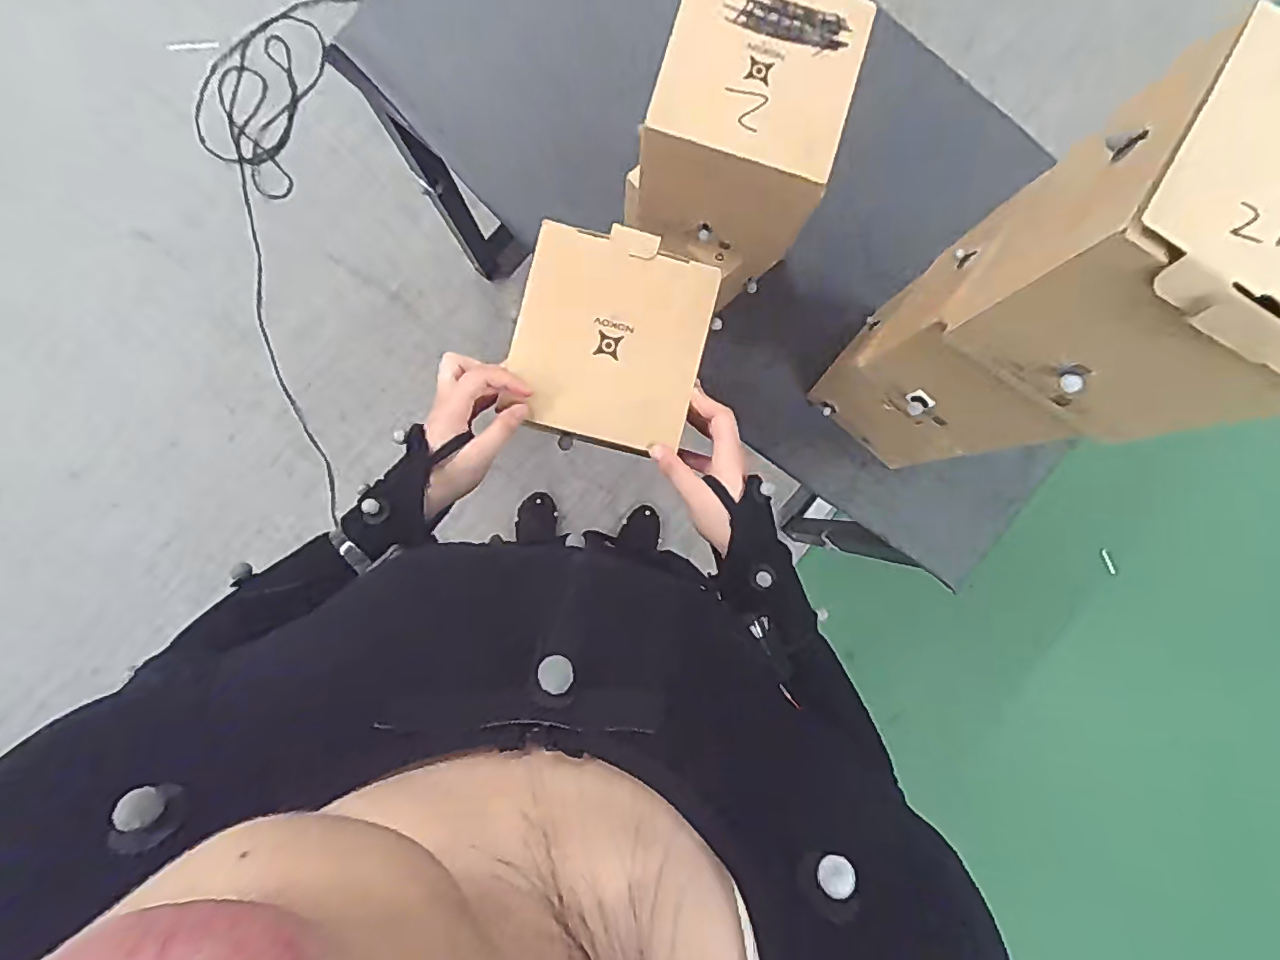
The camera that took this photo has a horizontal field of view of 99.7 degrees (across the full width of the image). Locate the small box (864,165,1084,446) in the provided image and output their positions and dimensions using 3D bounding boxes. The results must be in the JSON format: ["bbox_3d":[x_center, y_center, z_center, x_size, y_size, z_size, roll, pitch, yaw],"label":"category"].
[{"bbox_3d":[0.363,-0.155,0.544,0.168,0.176,0.179,37,85,1],"label":"small box"}]

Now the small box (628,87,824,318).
[{"bbox_3d":[0.096,-0.343,0.707,0.179,0.176,0.168,-41,90,-5],"label":"small box"}]

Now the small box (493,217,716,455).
[{"bbox_3d":[-0.034,-0.127,0.552,0.168,0.176,0.179,13,89,-4],"label":"small box"}]

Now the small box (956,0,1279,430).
[{"bbox_3d":[0.369,-0.158,0.379,0.168,0.176,0.179,33,85,1],"label":"small box"}]
